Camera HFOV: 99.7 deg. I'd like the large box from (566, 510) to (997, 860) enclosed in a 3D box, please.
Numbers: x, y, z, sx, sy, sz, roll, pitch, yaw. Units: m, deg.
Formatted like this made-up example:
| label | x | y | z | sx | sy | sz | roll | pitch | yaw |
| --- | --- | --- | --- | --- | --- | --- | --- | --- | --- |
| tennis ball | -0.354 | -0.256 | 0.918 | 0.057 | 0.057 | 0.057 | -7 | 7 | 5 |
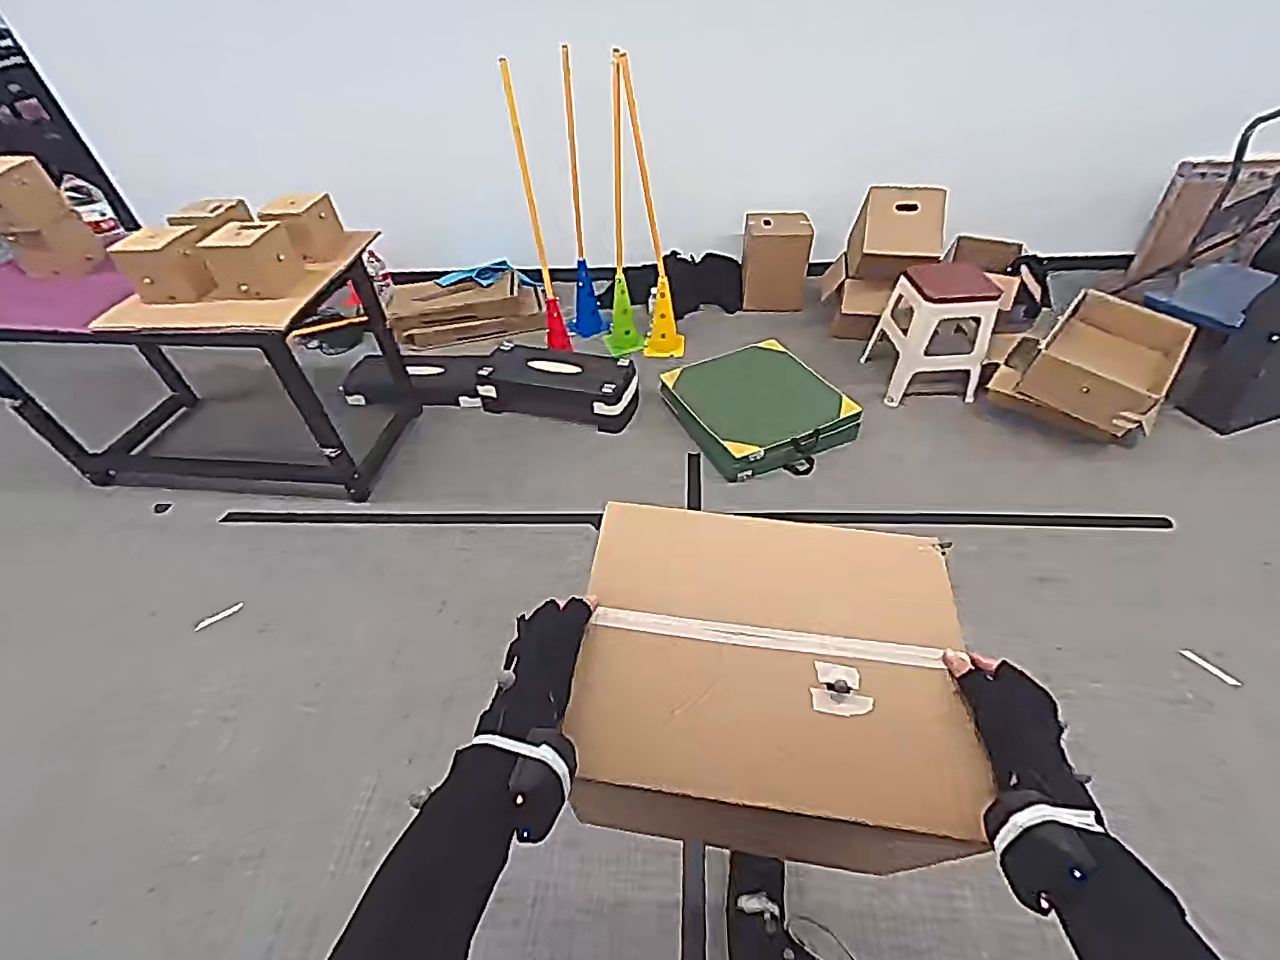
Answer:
| label | x | y | z | sx | sy | sz | roll | pitch | yaw |
| --- | --- | --- | --- | --- | --- | --- | --- | --- | --- |
| large box | 0.140 | 0.267 | 0.703 | 0.408 | 0.320 | 0.320 | 6 | 51 | 5 |
